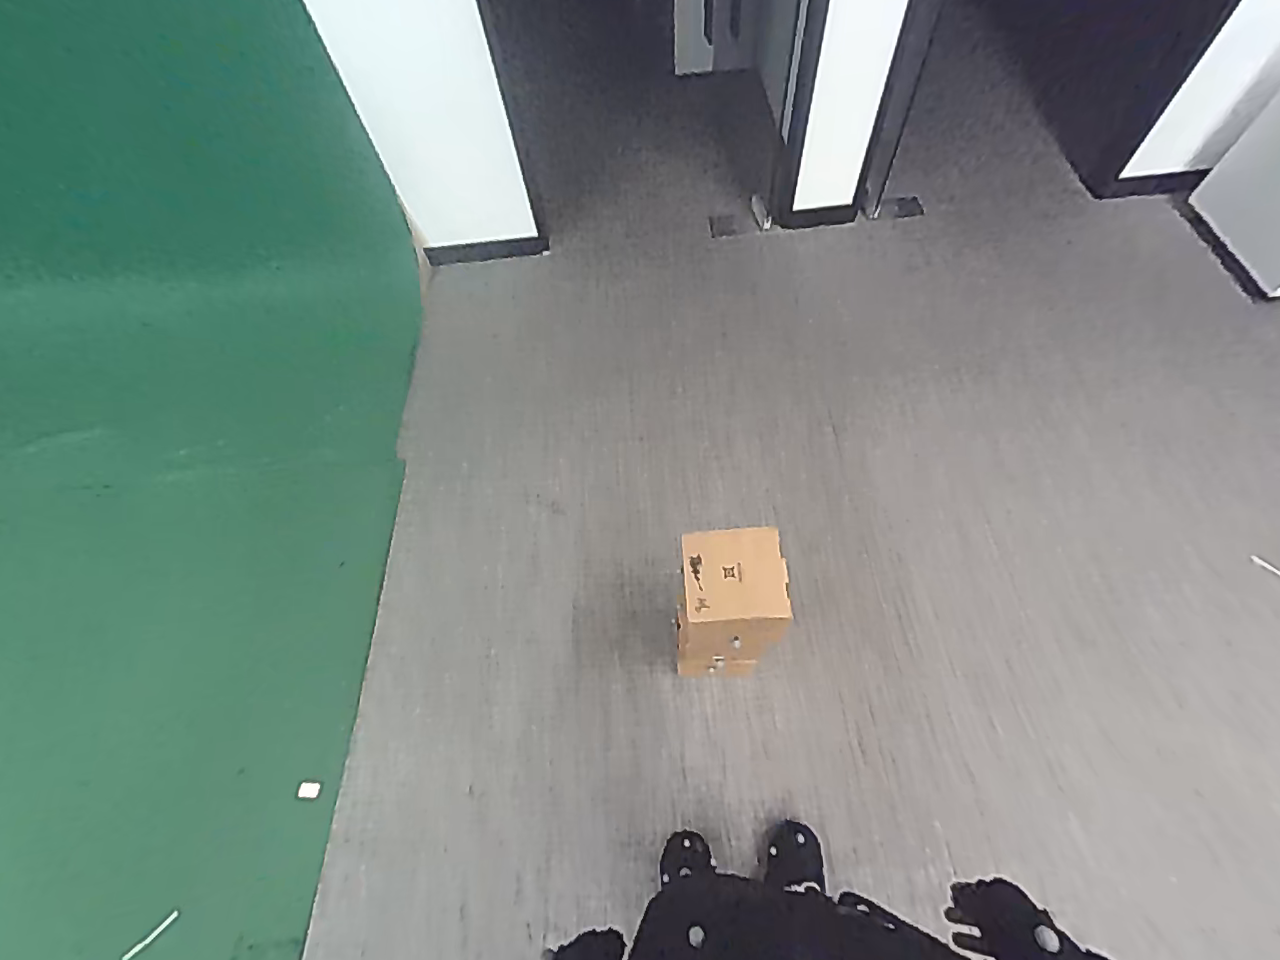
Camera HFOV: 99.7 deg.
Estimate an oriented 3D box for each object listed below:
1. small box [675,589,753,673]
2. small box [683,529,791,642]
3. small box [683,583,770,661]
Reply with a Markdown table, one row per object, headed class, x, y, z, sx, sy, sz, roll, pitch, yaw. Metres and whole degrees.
| class | x | y | z | sx | sy | sz | roll | pitch | yaw |
| --- | --- | --- | --- | --- | --- | --- | --- | --- | --- |
| small box | 0.176 | 0.365 | 1.296 | 0.179 | 0.176 | 0.168 | -1 | 60 | 4 |
| small box | 0.171 | 0.201 | 1.015 | 0.179 | 0.176 | 0.168 | -4 | 60 | 4 |
| small box | 0.177 | 0.280 | 1.159 | 0.168 | 0.176 | 0.179 | -4 | 61 | 5 |
